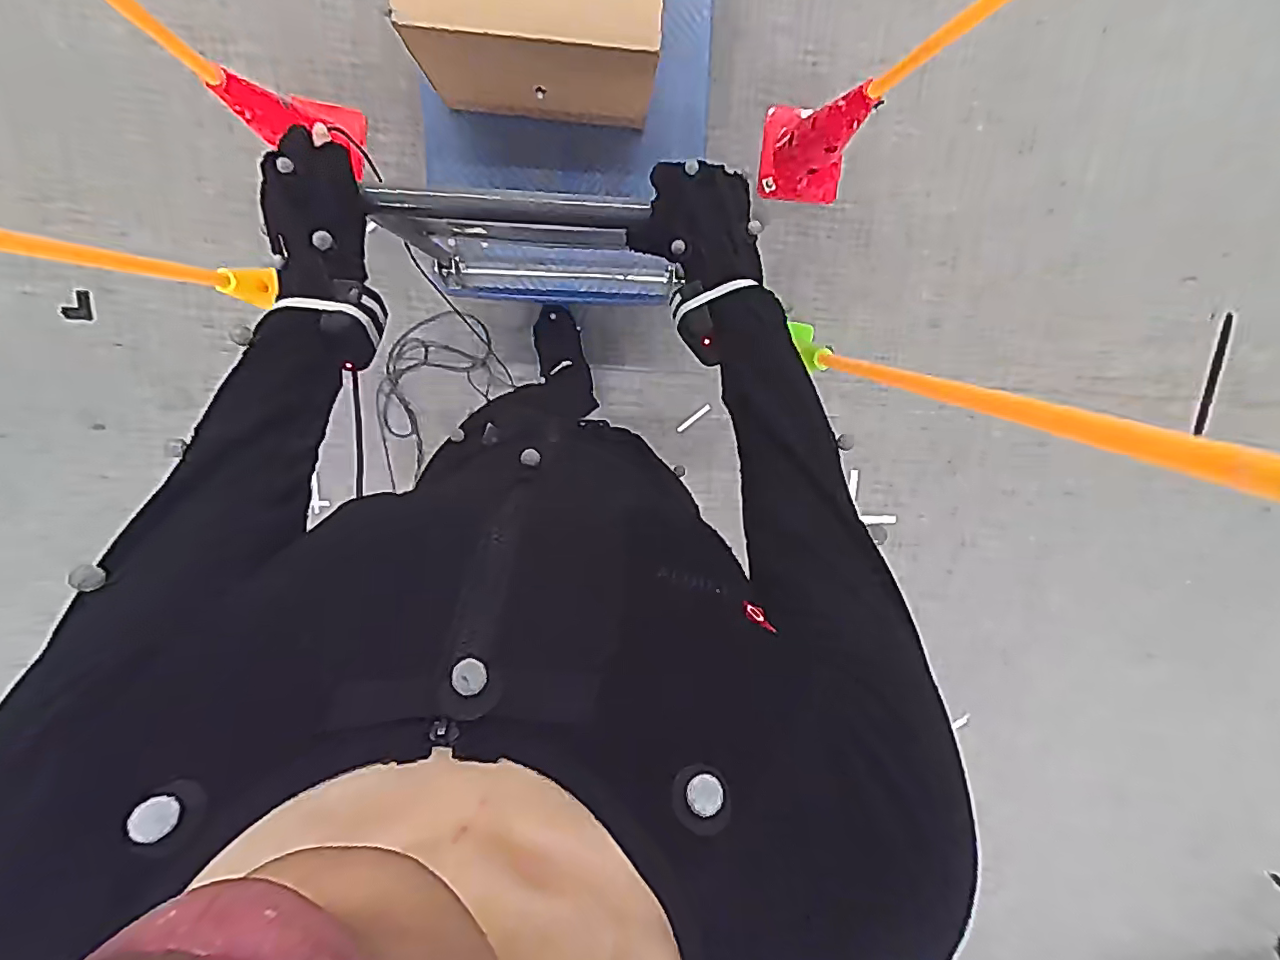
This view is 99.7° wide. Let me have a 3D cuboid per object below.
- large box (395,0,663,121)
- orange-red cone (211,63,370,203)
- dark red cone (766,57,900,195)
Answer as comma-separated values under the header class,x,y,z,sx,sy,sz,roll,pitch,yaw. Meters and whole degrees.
class,x,y,z,sx,sy,sz,roll,pitch,yaw
large box,-0.166,-0.857,0.931,0.408,0.320,0.320,3,104,-4
orange-red cone,-0.720,-0.724,1.082,0.198,0.360,0.199,10,101,-7
dark red cone,0.413,-0.751,1.121,0.201,0.394,0.202,2,104,-6
